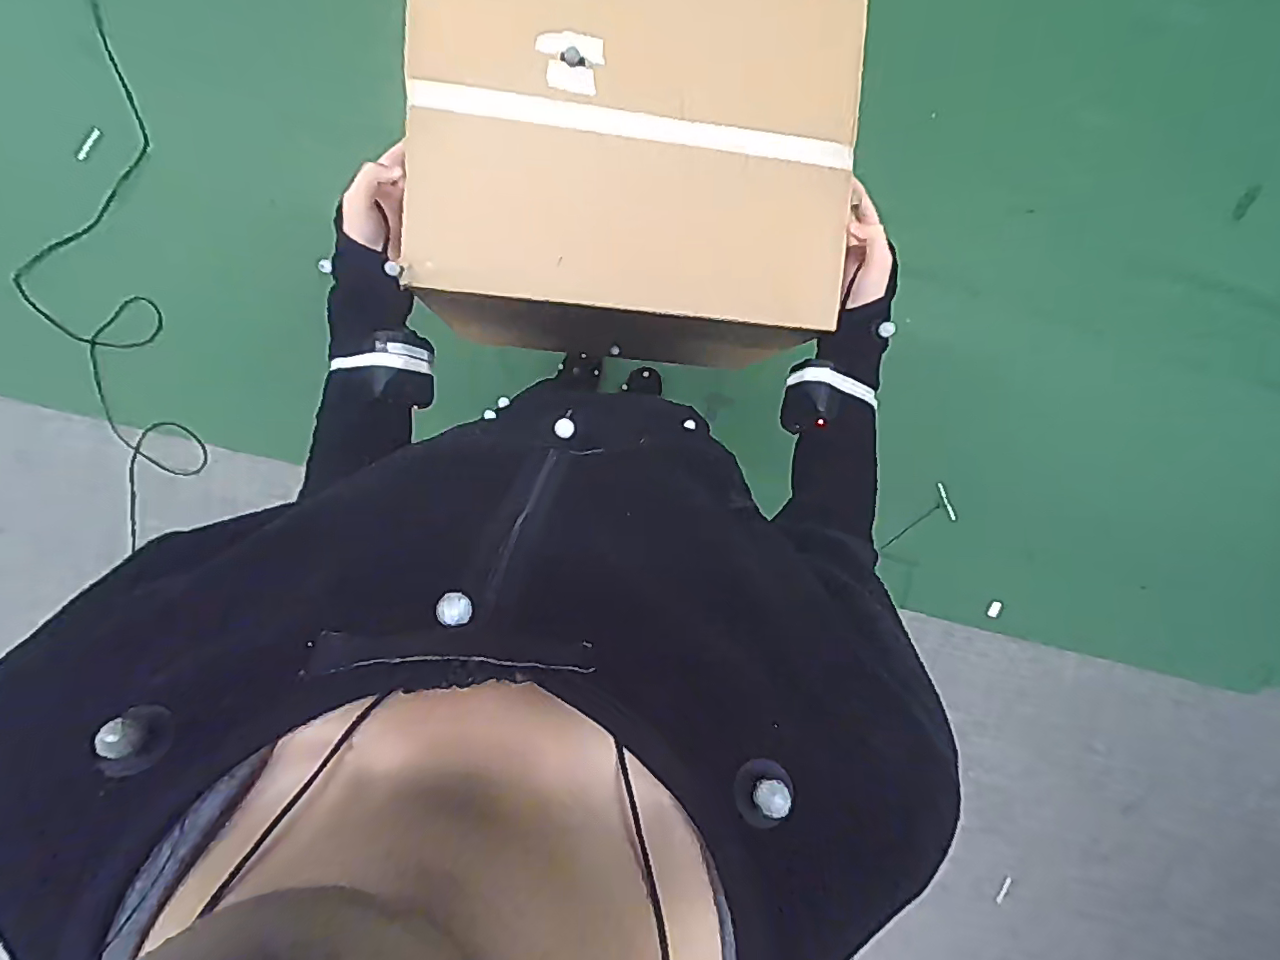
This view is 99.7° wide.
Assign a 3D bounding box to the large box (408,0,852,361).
[{"bbox_3d":[-0.020,-0.324,0.646,0.408,0.320,0.320,4,94,-7],"label":"large box"}]
